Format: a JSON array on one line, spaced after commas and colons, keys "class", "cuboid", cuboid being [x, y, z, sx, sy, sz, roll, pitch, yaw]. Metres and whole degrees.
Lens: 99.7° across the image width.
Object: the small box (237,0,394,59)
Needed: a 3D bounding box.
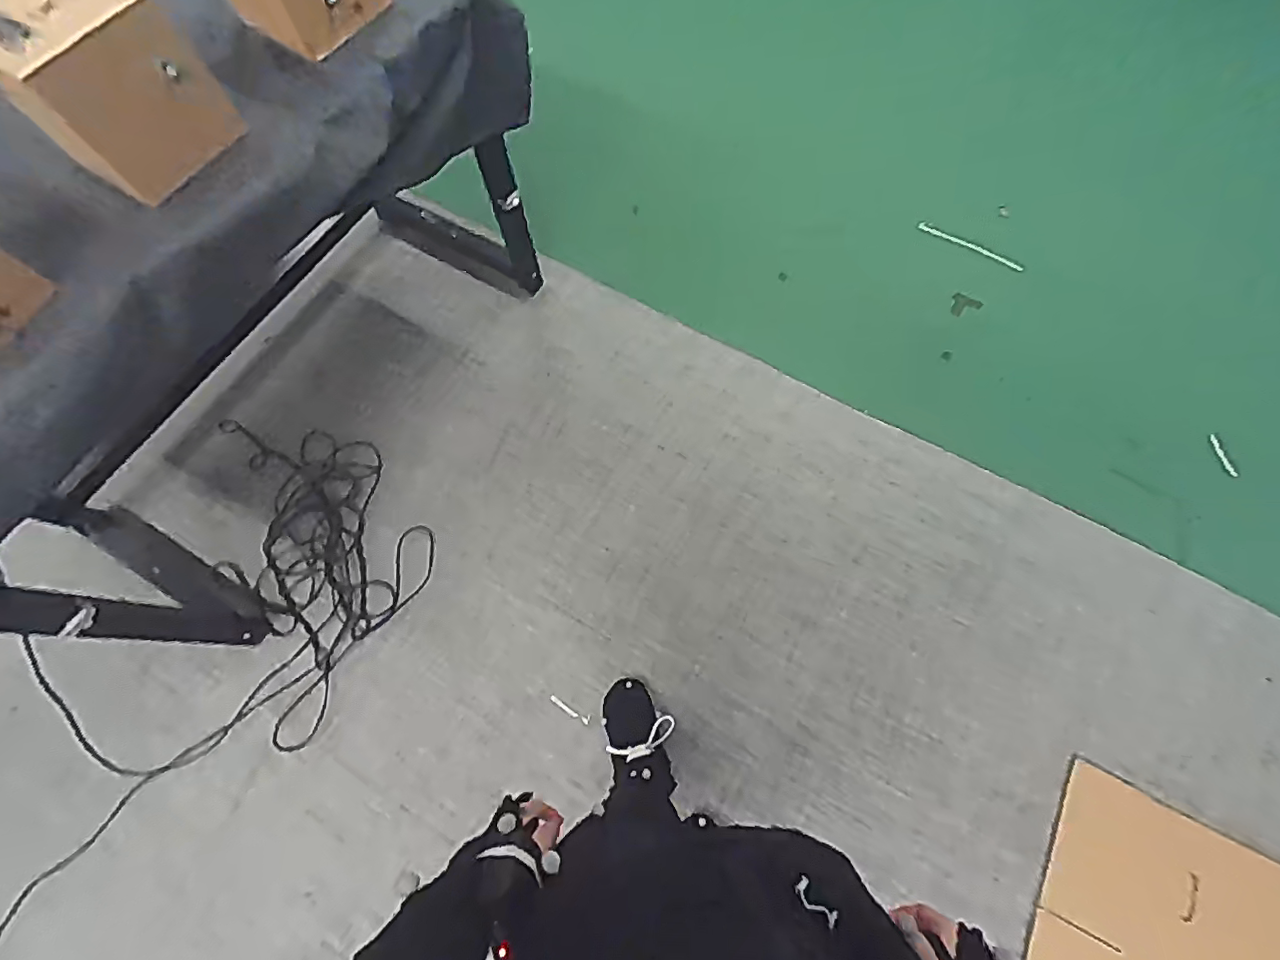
[{"class": "small box", "cuboid": [-0.503, -0.761, 0.782, 0.179, 0.176, 0.168, 33, 75, 12]}]
